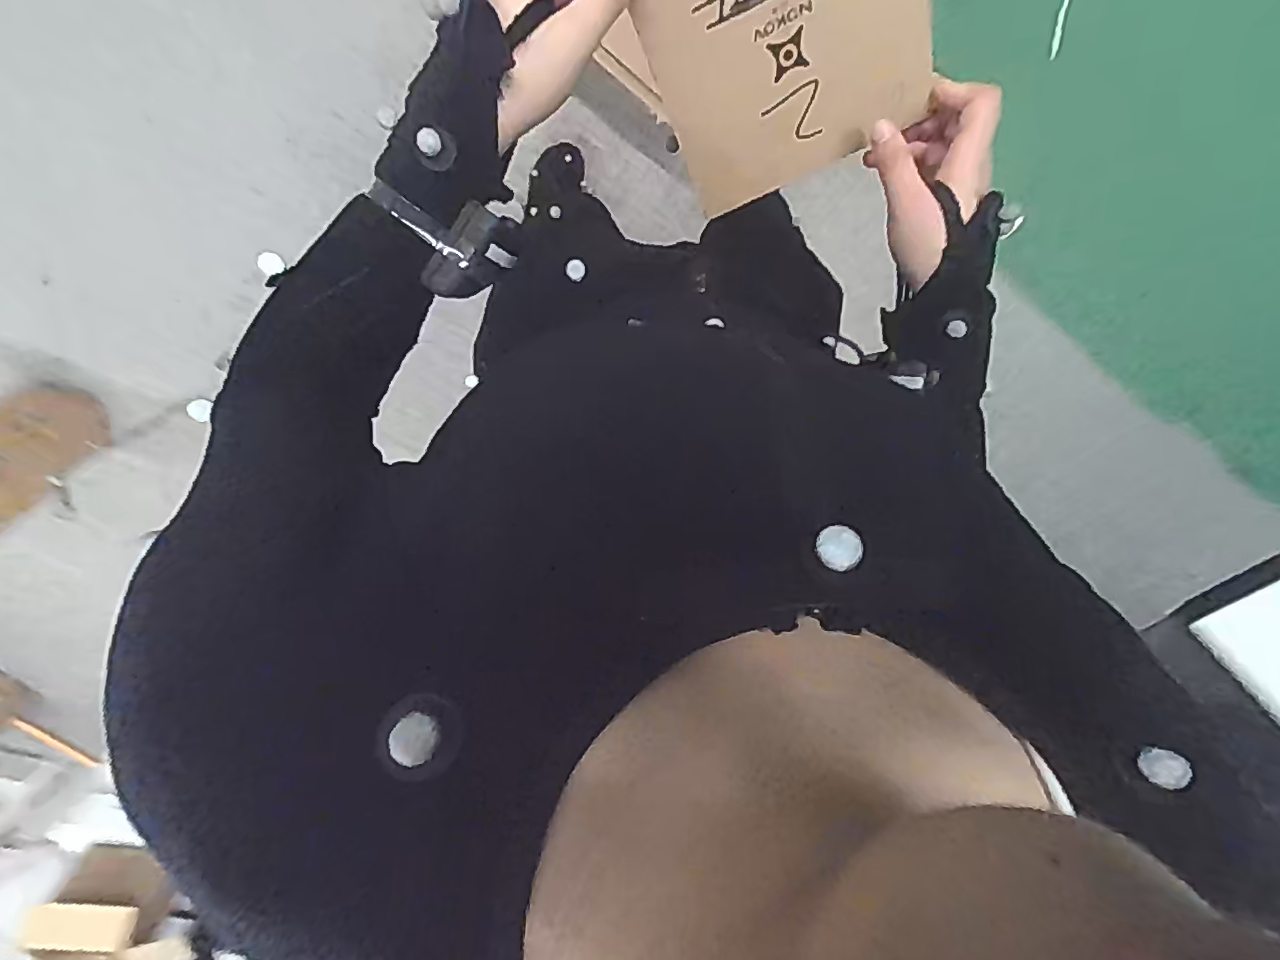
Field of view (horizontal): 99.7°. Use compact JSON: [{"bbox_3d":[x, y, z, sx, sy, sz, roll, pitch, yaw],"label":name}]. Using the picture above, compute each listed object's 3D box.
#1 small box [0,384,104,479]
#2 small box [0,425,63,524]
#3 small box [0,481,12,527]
[{"bbox_3d":[-1.638,-0.138,1.493,0.179,0.176,0.168,21,124,-16],"label":"small box"},{"bbox_3d":[-1.643,-0.024,1.375,0.179,0.176,0.168,24,125,-19],"label":"small box"},{"bbox_3d":[-1.635,0.074,1.245,0.179,0.176,0.168,23,125,-18],"label":"small box"}]
